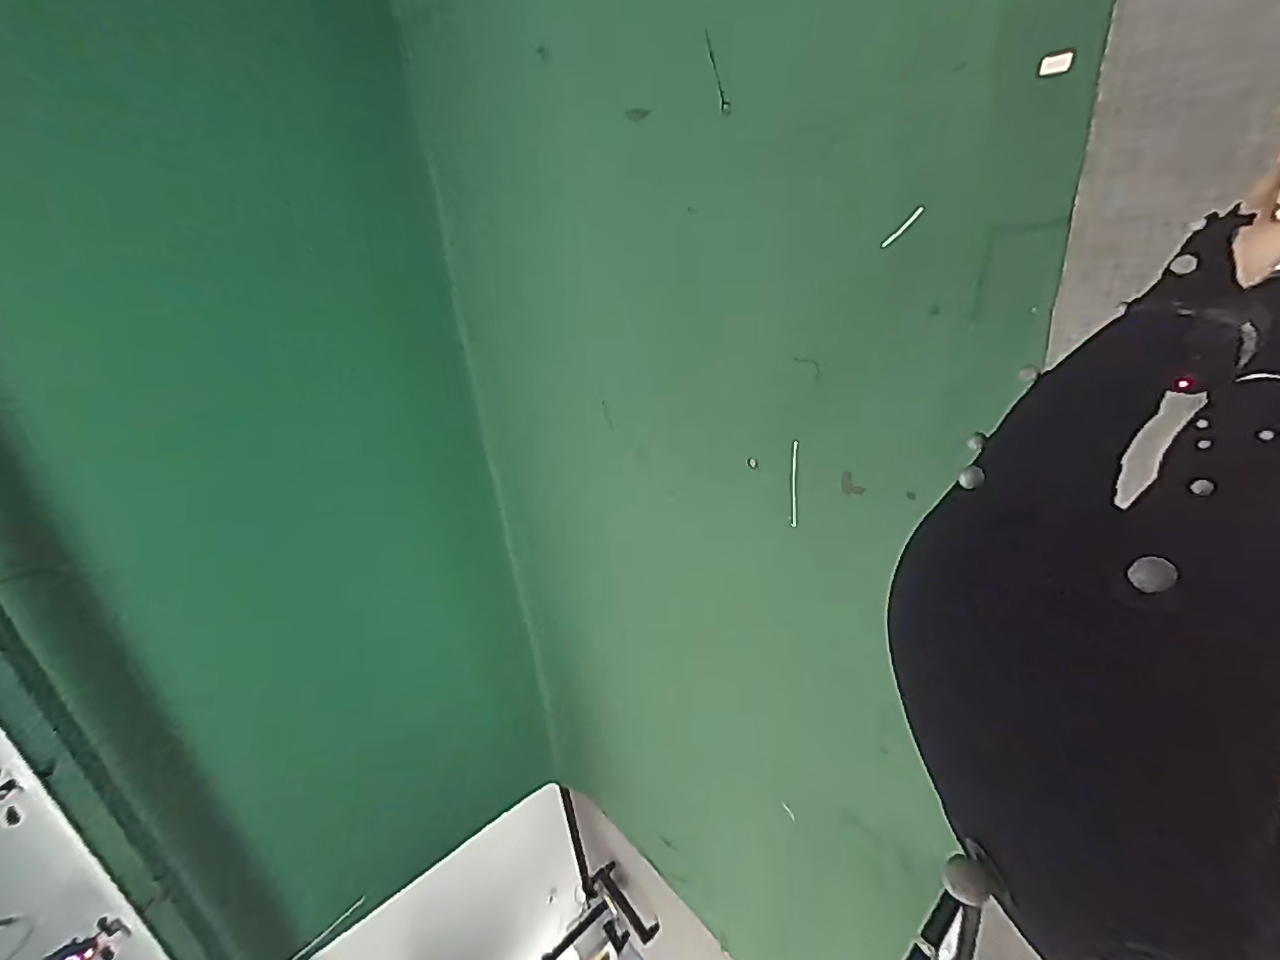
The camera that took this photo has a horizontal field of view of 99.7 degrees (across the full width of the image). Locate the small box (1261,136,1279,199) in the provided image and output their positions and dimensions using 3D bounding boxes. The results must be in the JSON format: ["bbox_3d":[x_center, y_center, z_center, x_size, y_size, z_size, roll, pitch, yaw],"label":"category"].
[{"bbox_3d":[0.603,-0.295,0.383,0.179,0.176,0.168,21,123,45],"label":"small box"}]
